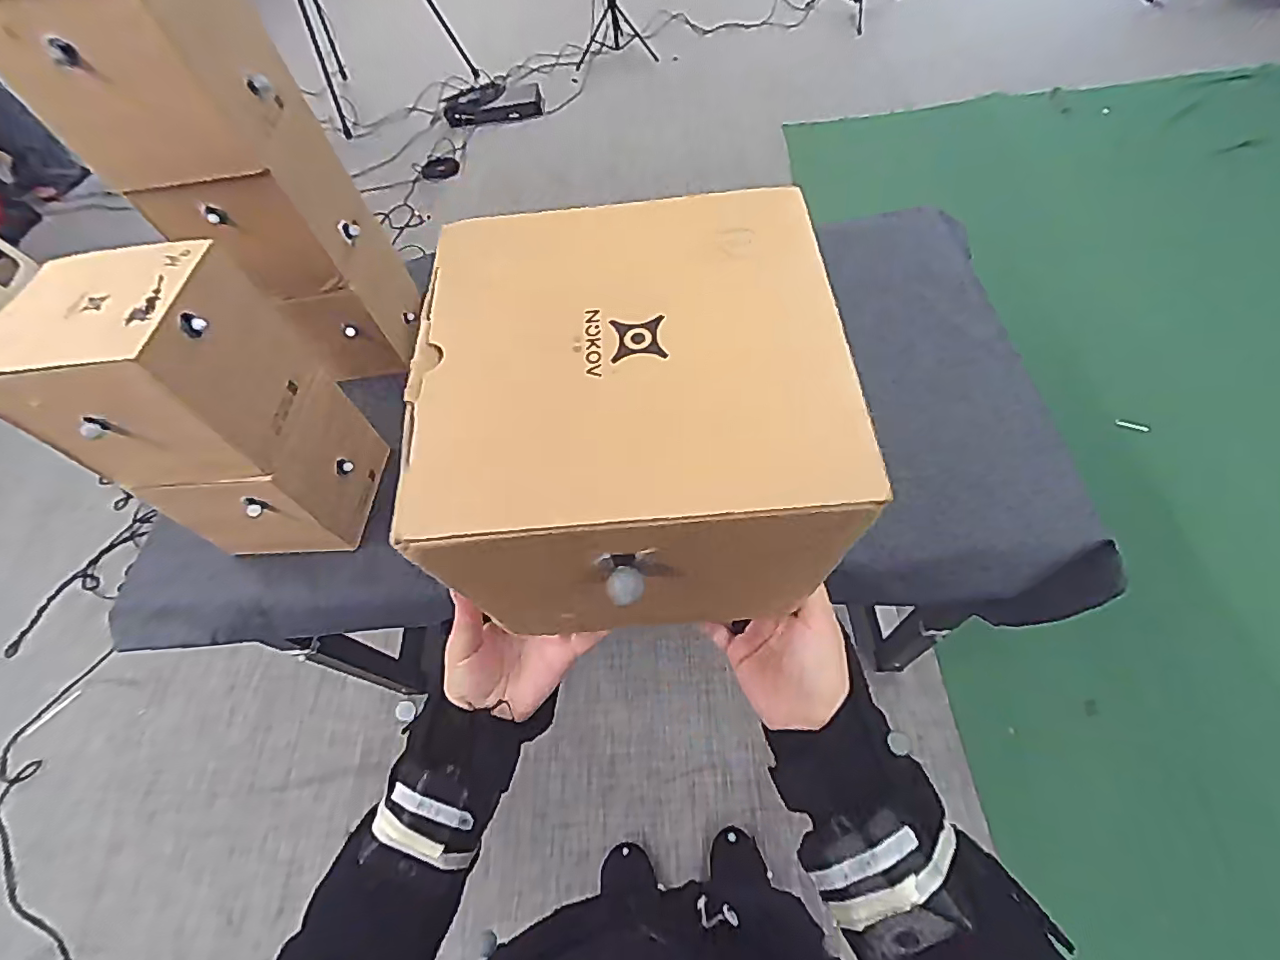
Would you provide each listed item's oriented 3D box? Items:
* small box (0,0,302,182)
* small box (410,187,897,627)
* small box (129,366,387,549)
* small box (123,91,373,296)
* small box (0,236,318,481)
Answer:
[{"bbox_3d":[-0.495,-0.431,0.550,0.179,0.176,0.168,-5,61,3],"label":"small box"},{"bbox_3d":[0.004,-0.023,0.295,0.179,0.176,0.168,-6,63,2],"label":"small box"},{"bbox_3d":[-0.453,-0.022,0.680,0.179,0.176,0.168,-3,57,6],"label":"small box"},{"bbox_3d":[-0.482,-0.358,0.697,0.179,0.176,0.168,-7,61,2],"label":"small box"},{"bbox_3d":[-0.475,-0.112,0.545,0.179,0.176,0.168,-6,57,4],"label":"small box"}]
